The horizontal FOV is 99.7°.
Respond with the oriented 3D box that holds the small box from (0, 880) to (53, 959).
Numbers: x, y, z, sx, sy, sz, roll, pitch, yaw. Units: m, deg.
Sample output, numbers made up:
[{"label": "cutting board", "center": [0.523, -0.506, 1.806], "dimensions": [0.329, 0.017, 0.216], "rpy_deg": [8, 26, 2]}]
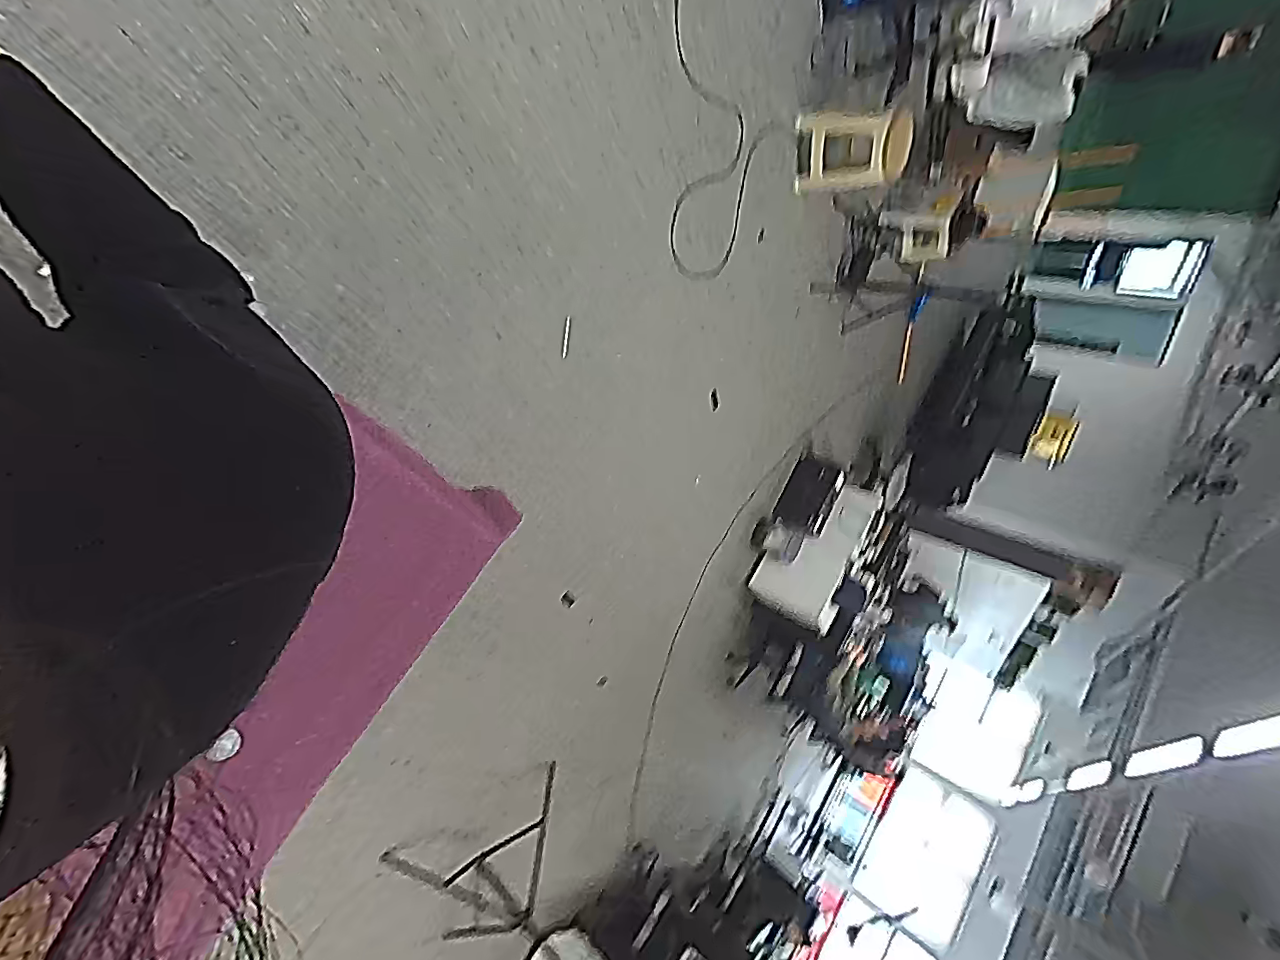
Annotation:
[{"label": "small box", "center": [-0.757, 0.534, 0.533], "dimensions": [0.168, 0.176, 0.179], "rpy_deg": [-54, 144, -17]}]
